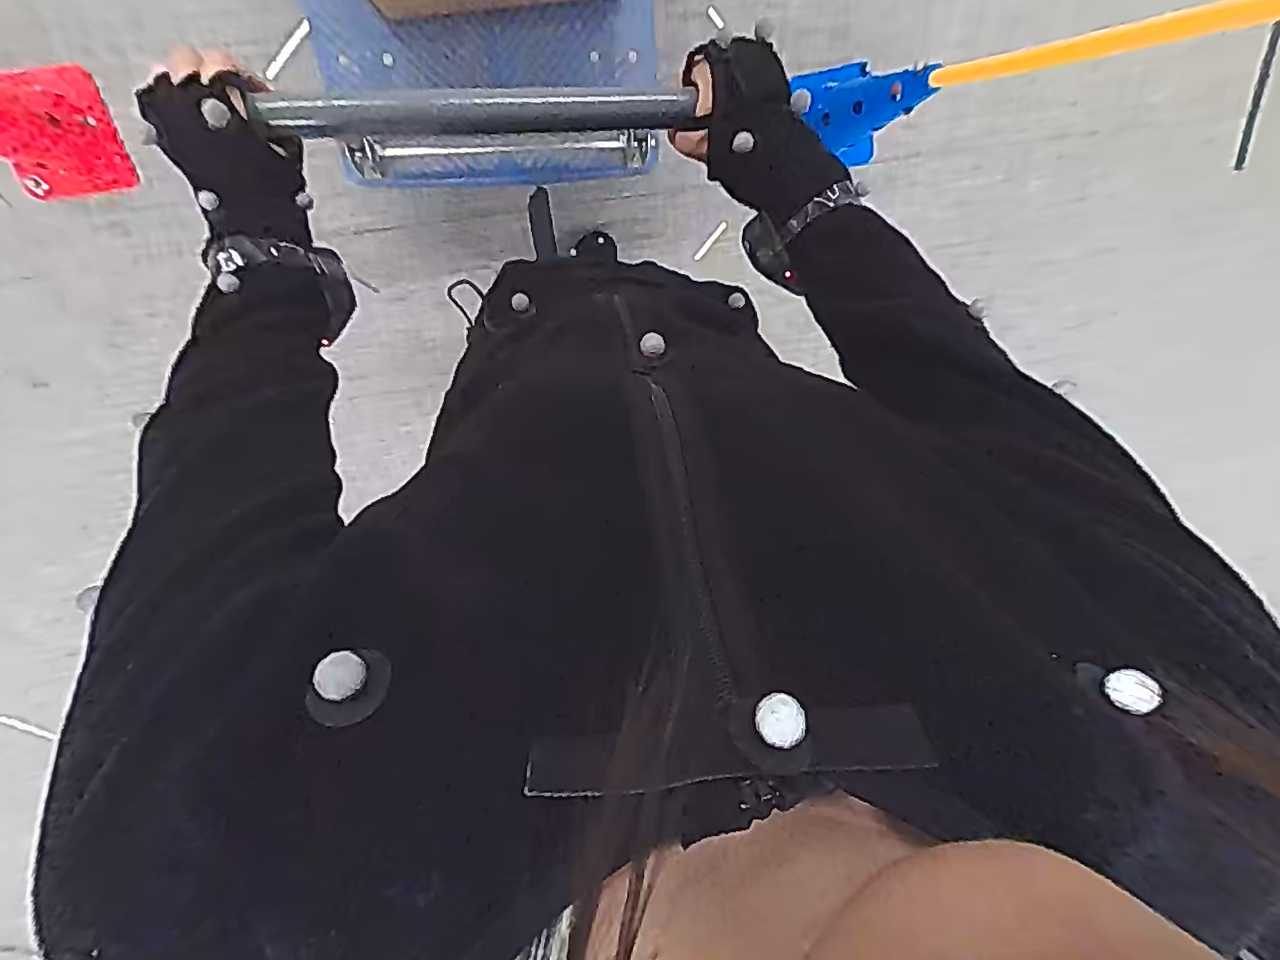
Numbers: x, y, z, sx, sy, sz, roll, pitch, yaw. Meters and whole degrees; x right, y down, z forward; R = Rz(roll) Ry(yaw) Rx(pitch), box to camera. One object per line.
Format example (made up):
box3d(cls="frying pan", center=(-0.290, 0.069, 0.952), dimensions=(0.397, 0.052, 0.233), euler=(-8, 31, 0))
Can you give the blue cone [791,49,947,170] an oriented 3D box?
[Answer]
box3d(cls="blue cone", center=(0.464, -0.753, 1.067), dimensions=(0.193, 0.380, 0.192), euler=(-14, 114, -5))
